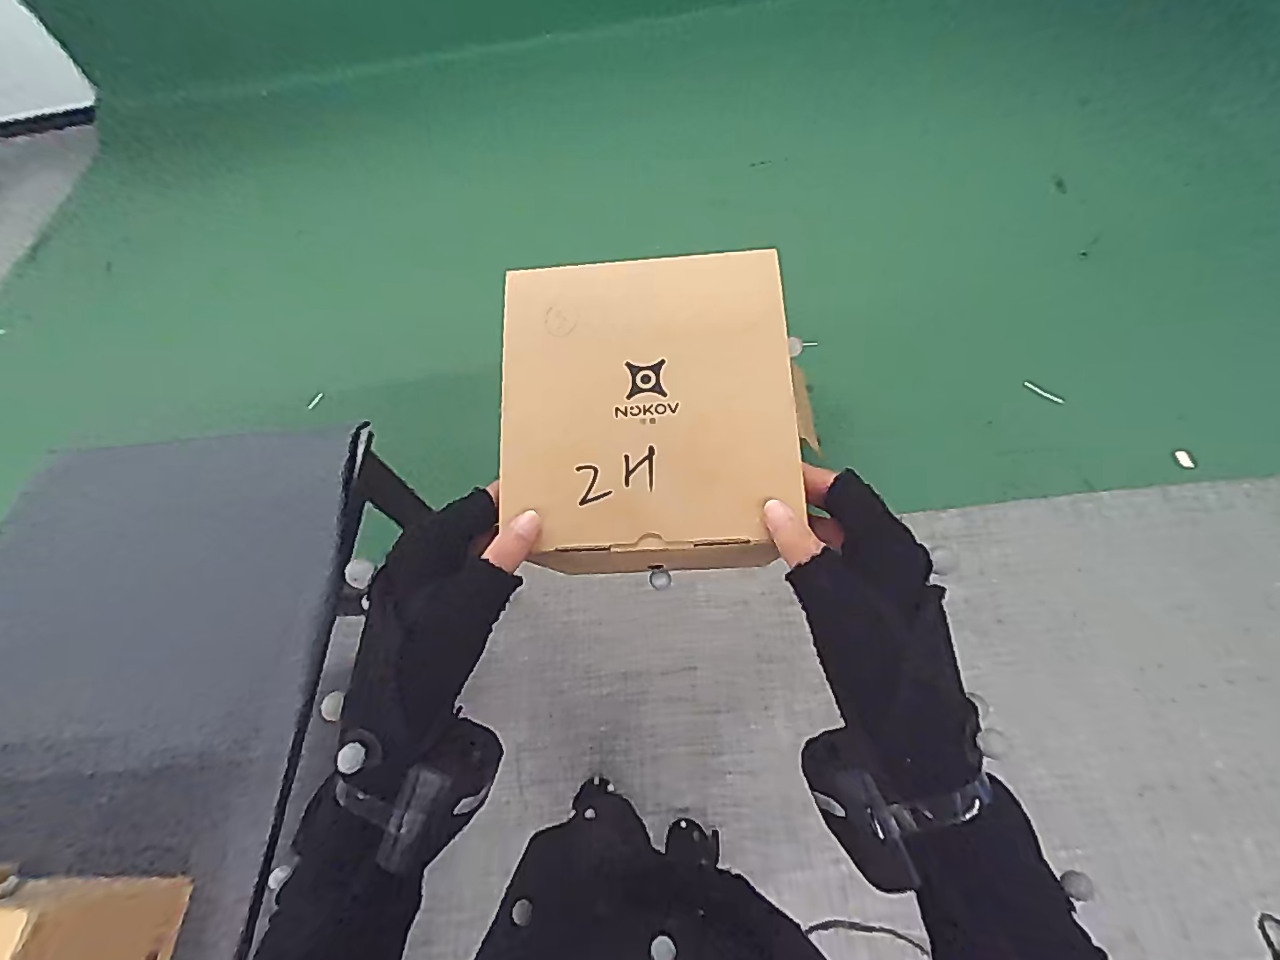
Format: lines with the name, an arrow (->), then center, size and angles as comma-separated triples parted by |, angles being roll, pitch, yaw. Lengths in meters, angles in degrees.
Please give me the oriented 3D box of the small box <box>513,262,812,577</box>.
small box -> 0.016, -0.027, 0.392 | 0.168, 0.176, 0.179 | -3, 75, 5
